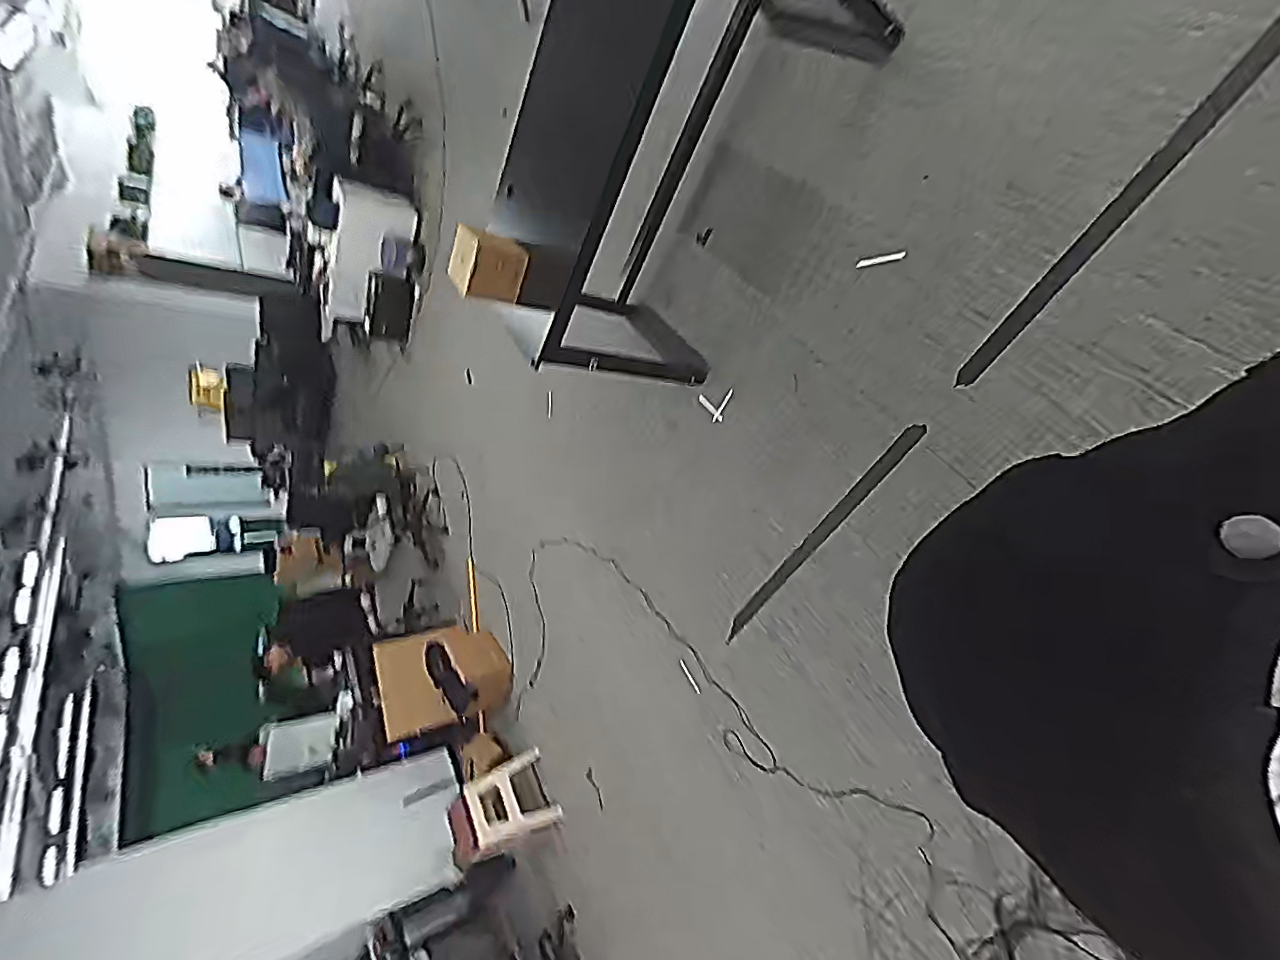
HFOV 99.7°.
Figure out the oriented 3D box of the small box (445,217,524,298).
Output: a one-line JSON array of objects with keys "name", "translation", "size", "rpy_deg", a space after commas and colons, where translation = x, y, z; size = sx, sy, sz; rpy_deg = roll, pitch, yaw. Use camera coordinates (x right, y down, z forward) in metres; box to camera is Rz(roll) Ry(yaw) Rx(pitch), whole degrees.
[{"name": "small box", "translation": [-0.477, -0.678, 1.664], "size": [0.179, 0.176, 0.168], "rpy_deg": [51, 126, 37]}]
